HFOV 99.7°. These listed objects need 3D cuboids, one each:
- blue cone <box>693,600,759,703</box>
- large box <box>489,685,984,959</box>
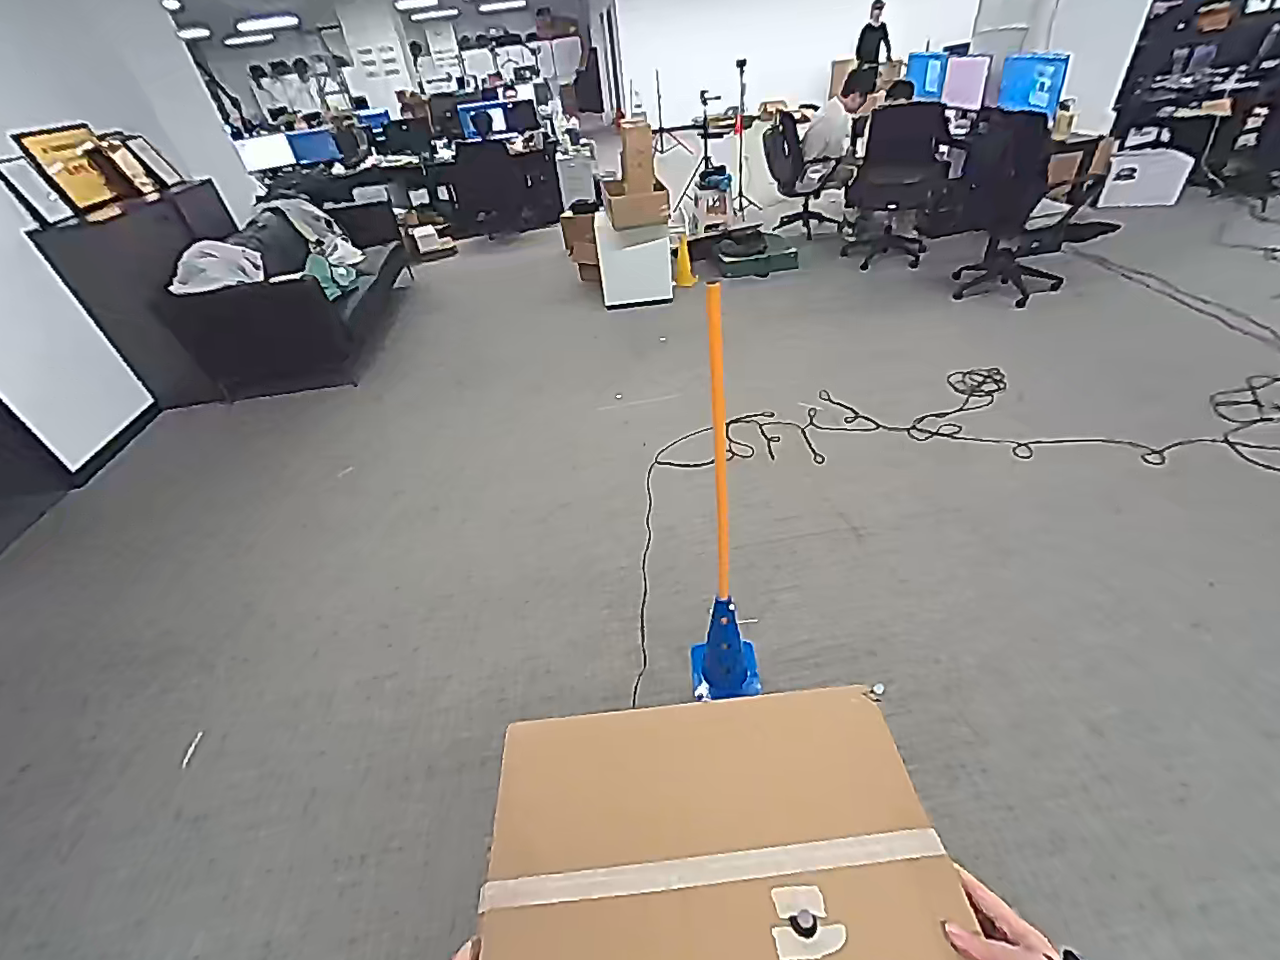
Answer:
[{"bbox_3d":[0.244,0.473,1.573,0.193,0.380,0.192,-4,39,5],"label":"blue cone"},{"bbox_3d":[0.075,0.463,0.577,0.408,0.320,0.320,-6,39,-2],"label":"large box"}]
